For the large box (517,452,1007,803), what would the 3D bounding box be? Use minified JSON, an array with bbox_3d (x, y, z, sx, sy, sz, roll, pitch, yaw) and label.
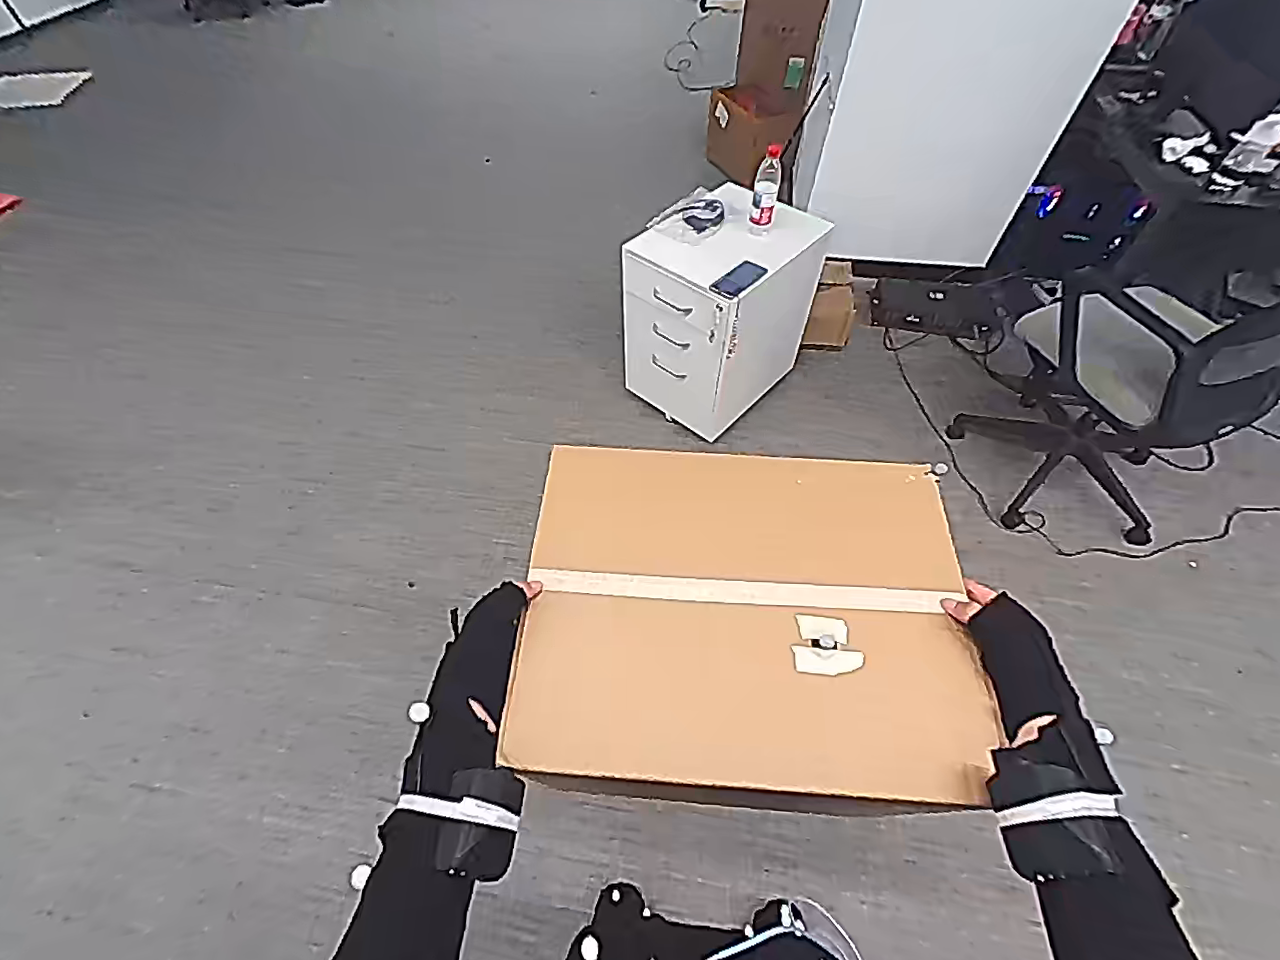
[{"bbox_3d":[0.102,0.187,0.637,0.408,0.320,0.320,4,58,2],"label":"large box"}]
